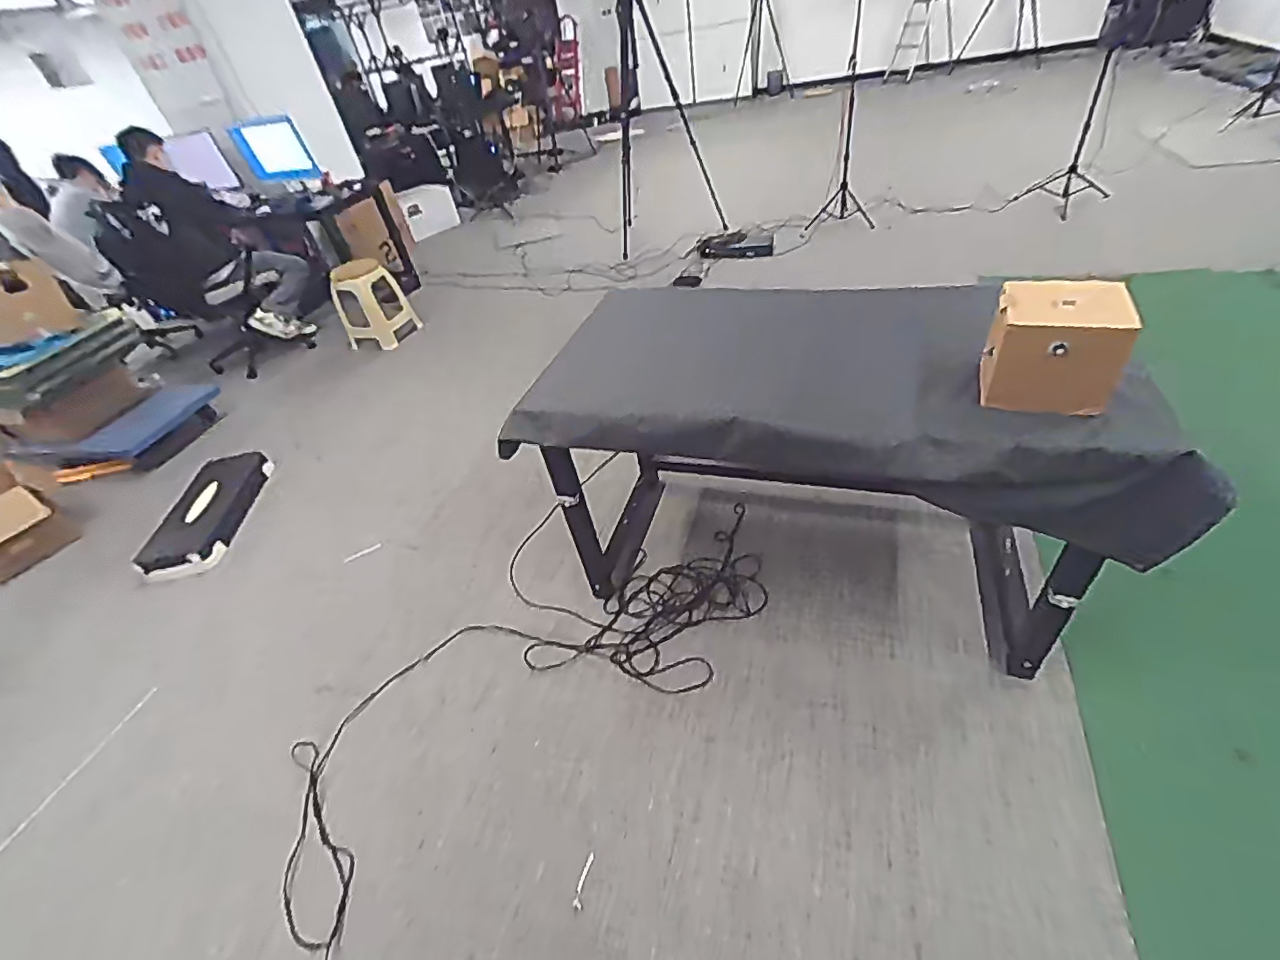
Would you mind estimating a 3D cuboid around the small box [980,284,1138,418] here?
[{"bbox_3d":[0.708,-0.225,0.940,0.179,0.176,0.168,10,46,23],"label":"small box"}]
